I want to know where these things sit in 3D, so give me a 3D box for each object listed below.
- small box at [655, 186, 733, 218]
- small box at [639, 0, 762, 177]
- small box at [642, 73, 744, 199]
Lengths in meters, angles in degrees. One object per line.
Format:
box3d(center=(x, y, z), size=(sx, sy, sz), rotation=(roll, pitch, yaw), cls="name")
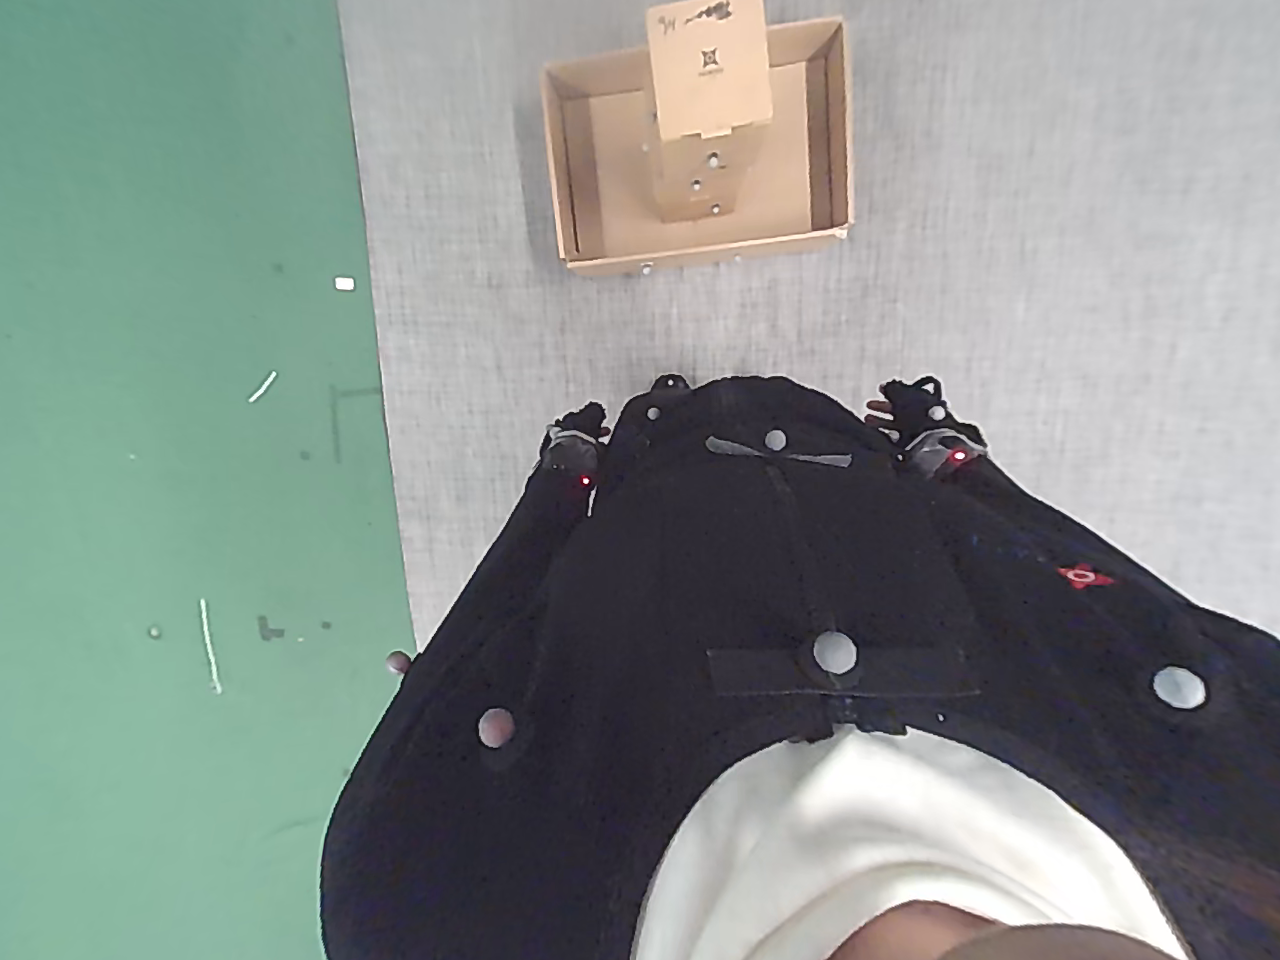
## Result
box3d(center=(0.111, -0.686, 1.173), size=(0.168, 0.176, 0.179), rotation=(-5, 99, 5), cls="small box")
box3d(center=(0.099, -0.614, 0.873), size=(0.168, 0.176, 0.179), rotation=(-8, 100, 7), cls="small box")
box3d(center=(0.100, -0.652, 1.030), size=(0.179, 0.176, 0.168), rotation=(-4, 100, 6), cls="small box")
